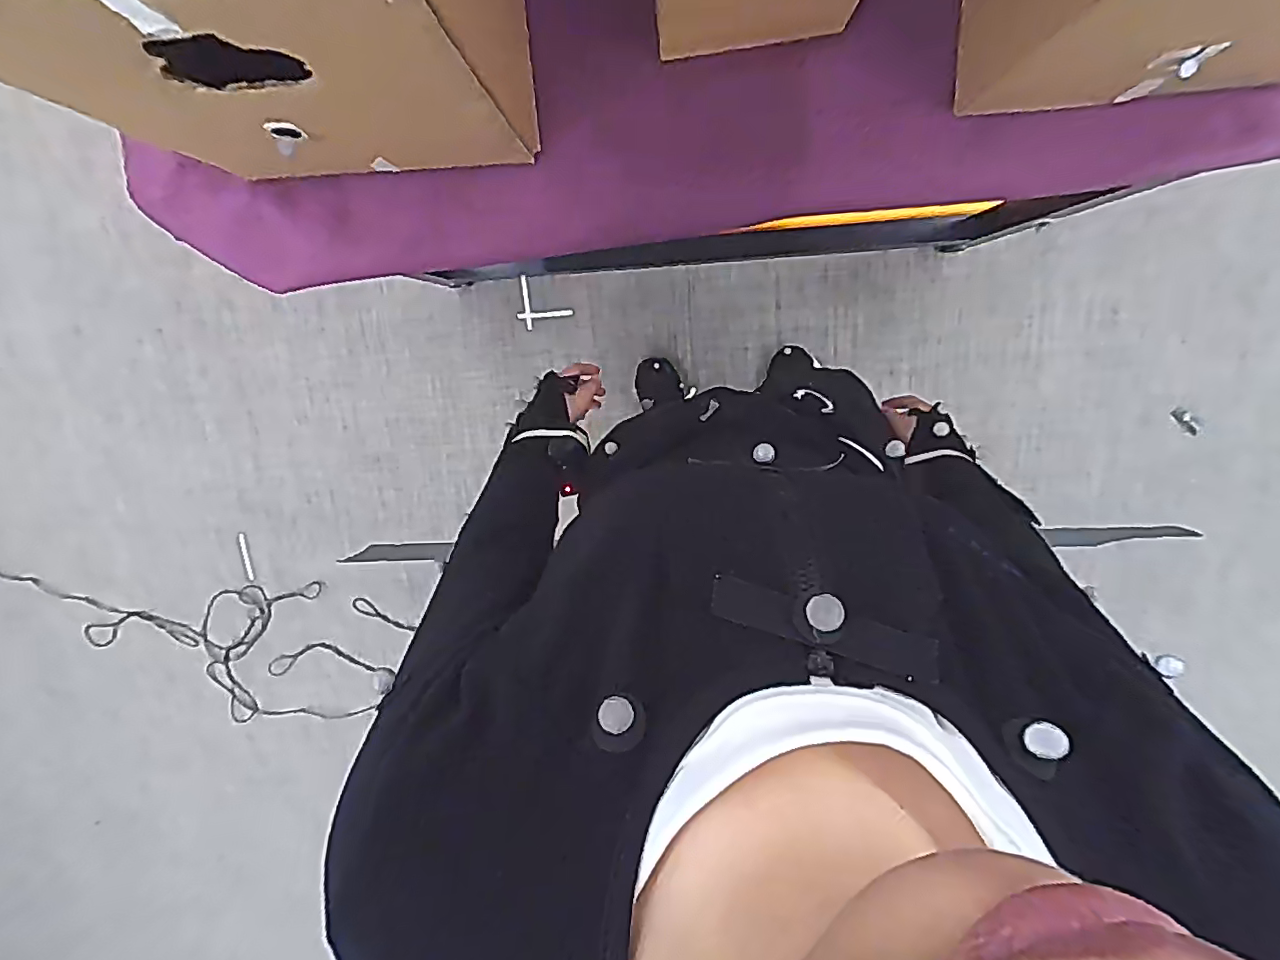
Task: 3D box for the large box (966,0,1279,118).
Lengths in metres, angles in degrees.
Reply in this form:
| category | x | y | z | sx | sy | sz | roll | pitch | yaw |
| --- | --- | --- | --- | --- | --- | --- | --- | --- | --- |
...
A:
| category | x | y | z | sx | sy | sz | roll | pitch | yaw |
| --- | --- | --- | --- | --- | --- | --- | --- | --- | --- |
| large box | 0.430 | -0.509 | 0.313 | 0.320 | 0.320 | 0.408 | -3 | 103 | 4 |
